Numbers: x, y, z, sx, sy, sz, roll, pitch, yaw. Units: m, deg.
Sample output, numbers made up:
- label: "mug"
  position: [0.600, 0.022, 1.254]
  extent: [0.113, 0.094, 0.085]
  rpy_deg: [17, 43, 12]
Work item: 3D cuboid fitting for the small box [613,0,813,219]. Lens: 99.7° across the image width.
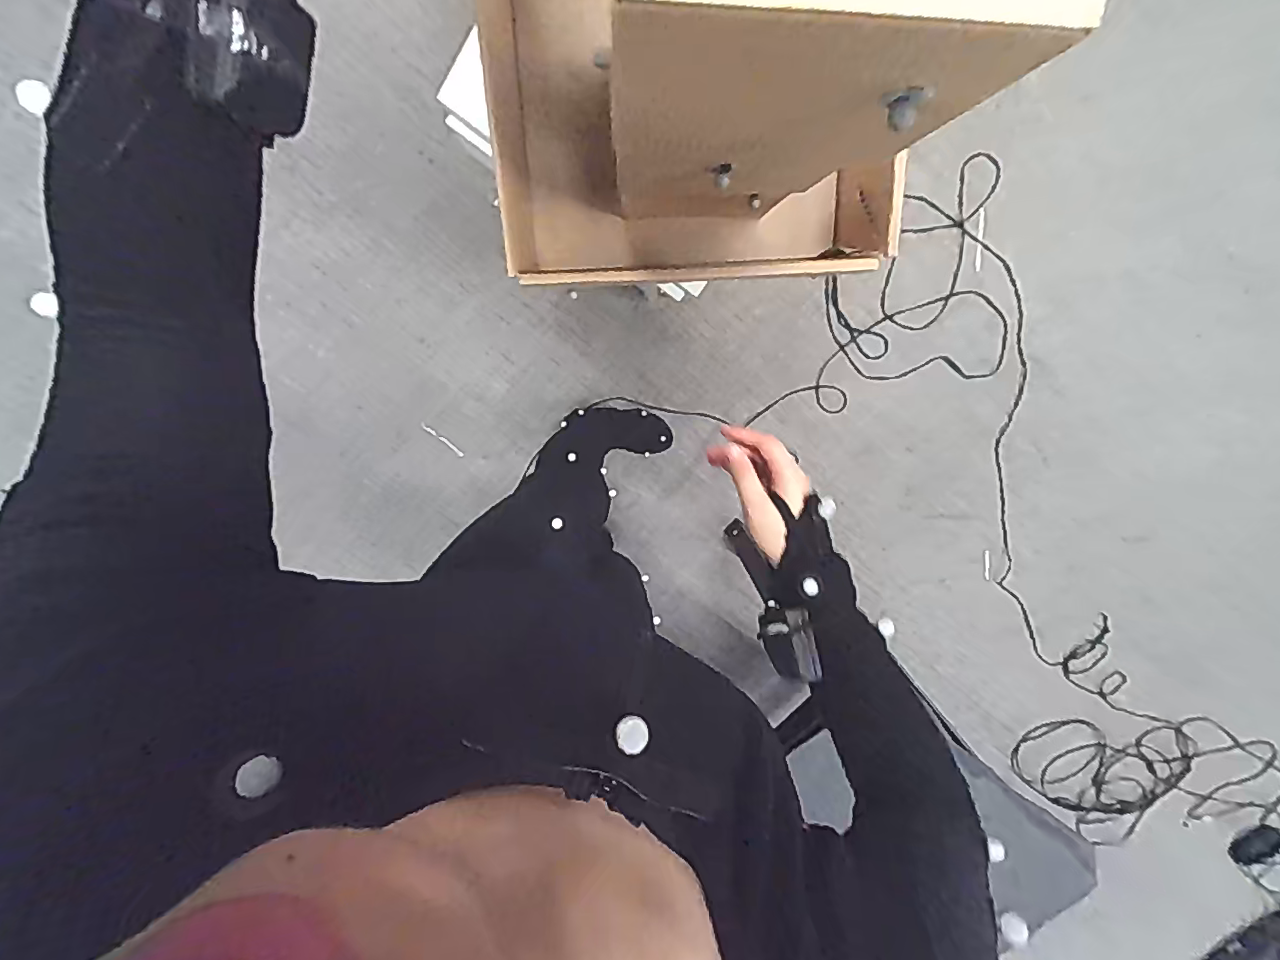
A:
- label: "small box"
  position: [0.064, -0.377, 0.562]
  extent: [0.179, 0.176, 0.168]
  rpy_deg: [-2, 106, -1]
